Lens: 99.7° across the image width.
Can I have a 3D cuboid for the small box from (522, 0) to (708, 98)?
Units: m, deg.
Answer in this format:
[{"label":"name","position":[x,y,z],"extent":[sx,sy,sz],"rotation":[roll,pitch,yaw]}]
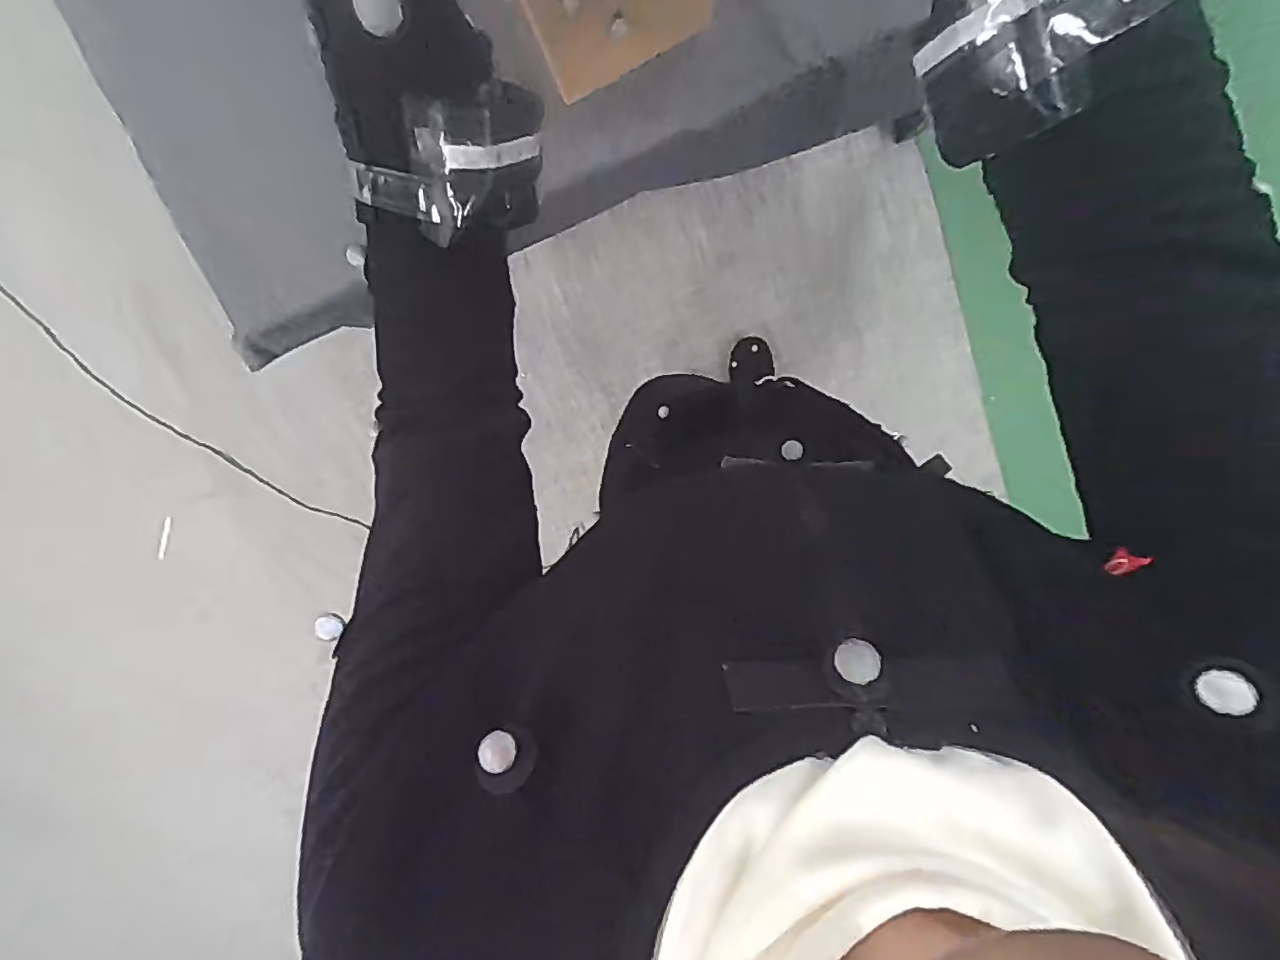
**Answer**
[{"label":"small box","position":[-0.041,-0.512,0.505],"extent":[0.179,0.176,0.168],"rotation":[-27,98,8]}]
